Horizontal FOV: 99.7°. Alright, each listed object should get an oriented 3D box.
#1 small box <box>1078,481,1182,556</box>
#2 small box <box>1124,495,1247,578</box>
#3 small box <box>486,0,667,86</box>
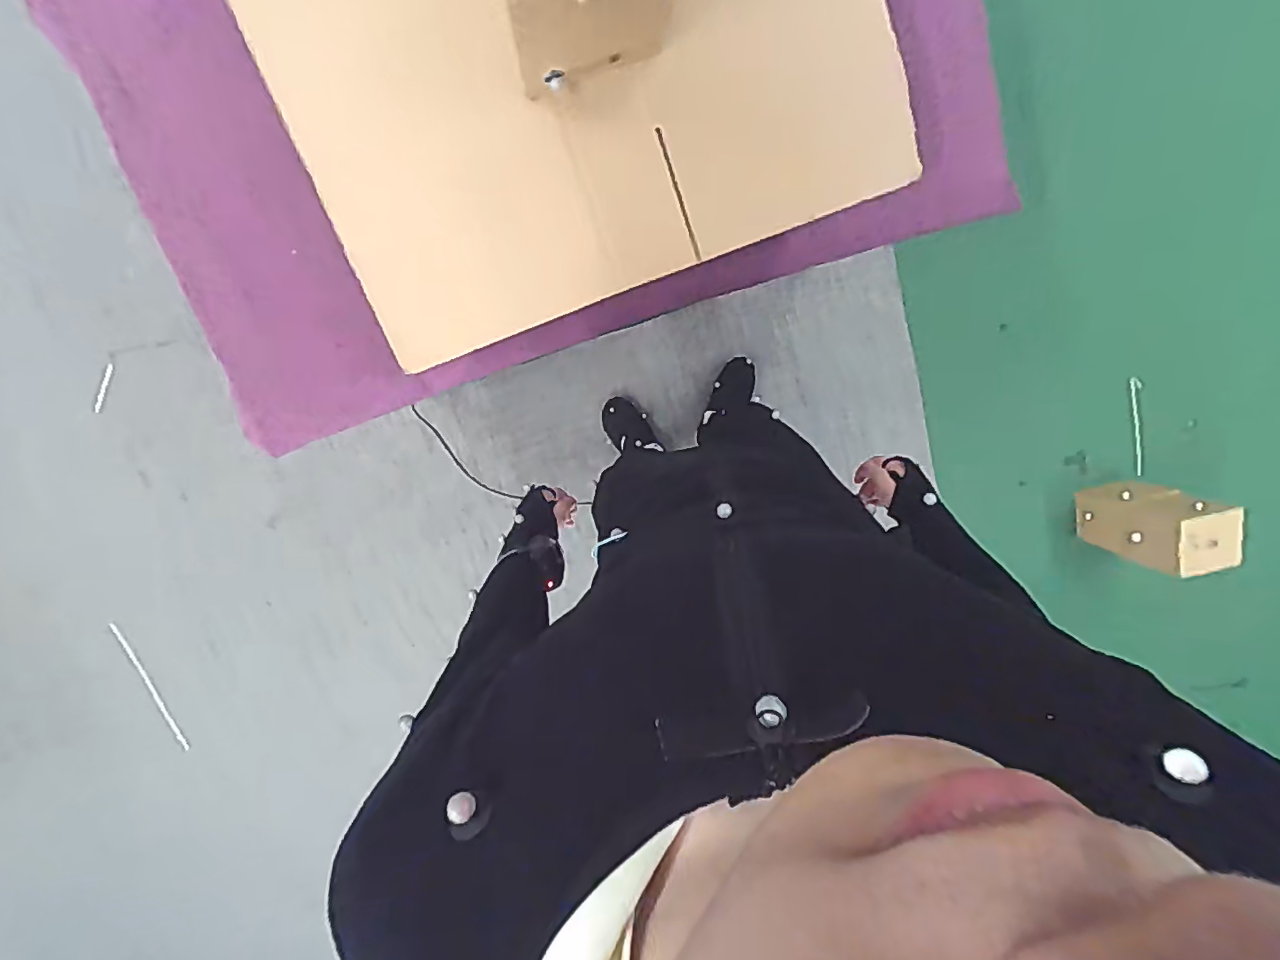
[{"bbox_3d":[1.498,0.111,1.659,0.179,0.176,0.168,-14,103,0],"label":"small box"},{"bbox_3d":[1.505,0.150,1.499,0.179,0.176,0.168,-12,103,0],"label":"small box"},{"bbox_3d":[-0.073,-0.507,0.498,0.168,0.176,0.179,-22,102,-2],"label":"small box"}]
